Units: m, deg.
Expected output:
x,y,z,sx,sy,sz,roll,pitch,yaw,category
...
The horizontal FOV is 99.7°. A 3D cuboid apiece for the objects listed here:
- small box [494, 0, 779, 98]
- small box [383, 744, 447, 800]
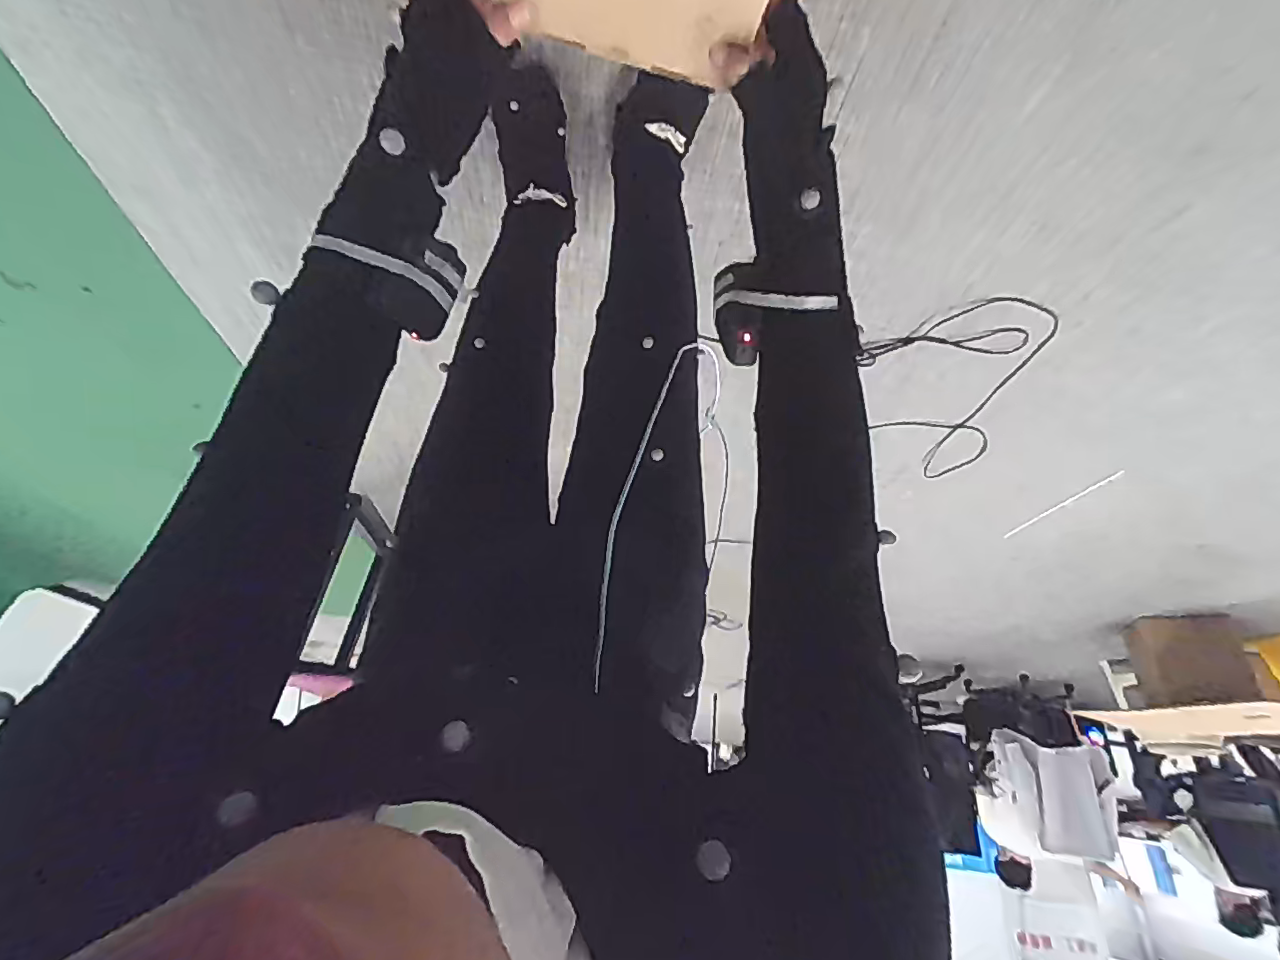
x,y,z,sx,sy,sz,roll,pitch,yaw,category
0.016,-0.375,0.308,0.168,0.176,0.179,10,152,-10,small box
-0.842,1.097,2.039,0.168,0.176,0.179,10,152,-6,small box
